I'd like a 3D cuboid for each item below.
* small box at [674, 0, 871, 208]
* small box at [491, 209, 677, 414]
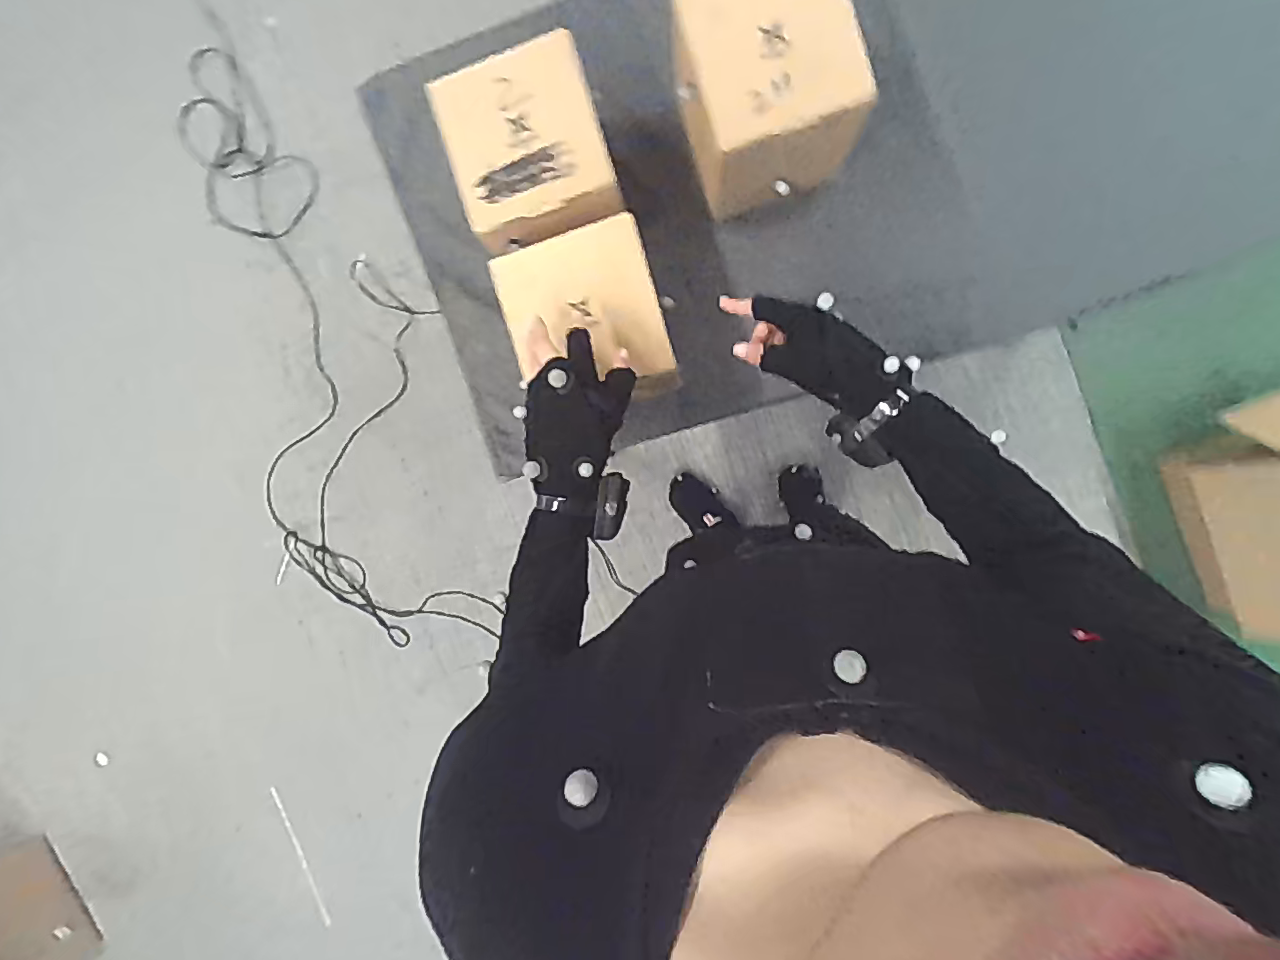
[{"bbox_3d":[0.140,-0.459,0.632,0.168,0.176,0.179,-17,92,6],"label":"small box"},{"bbox_3d":[-0.057,-0.190,0.666,0.168,0.176,0.179,-17,92,6],"label":"small box"}]
